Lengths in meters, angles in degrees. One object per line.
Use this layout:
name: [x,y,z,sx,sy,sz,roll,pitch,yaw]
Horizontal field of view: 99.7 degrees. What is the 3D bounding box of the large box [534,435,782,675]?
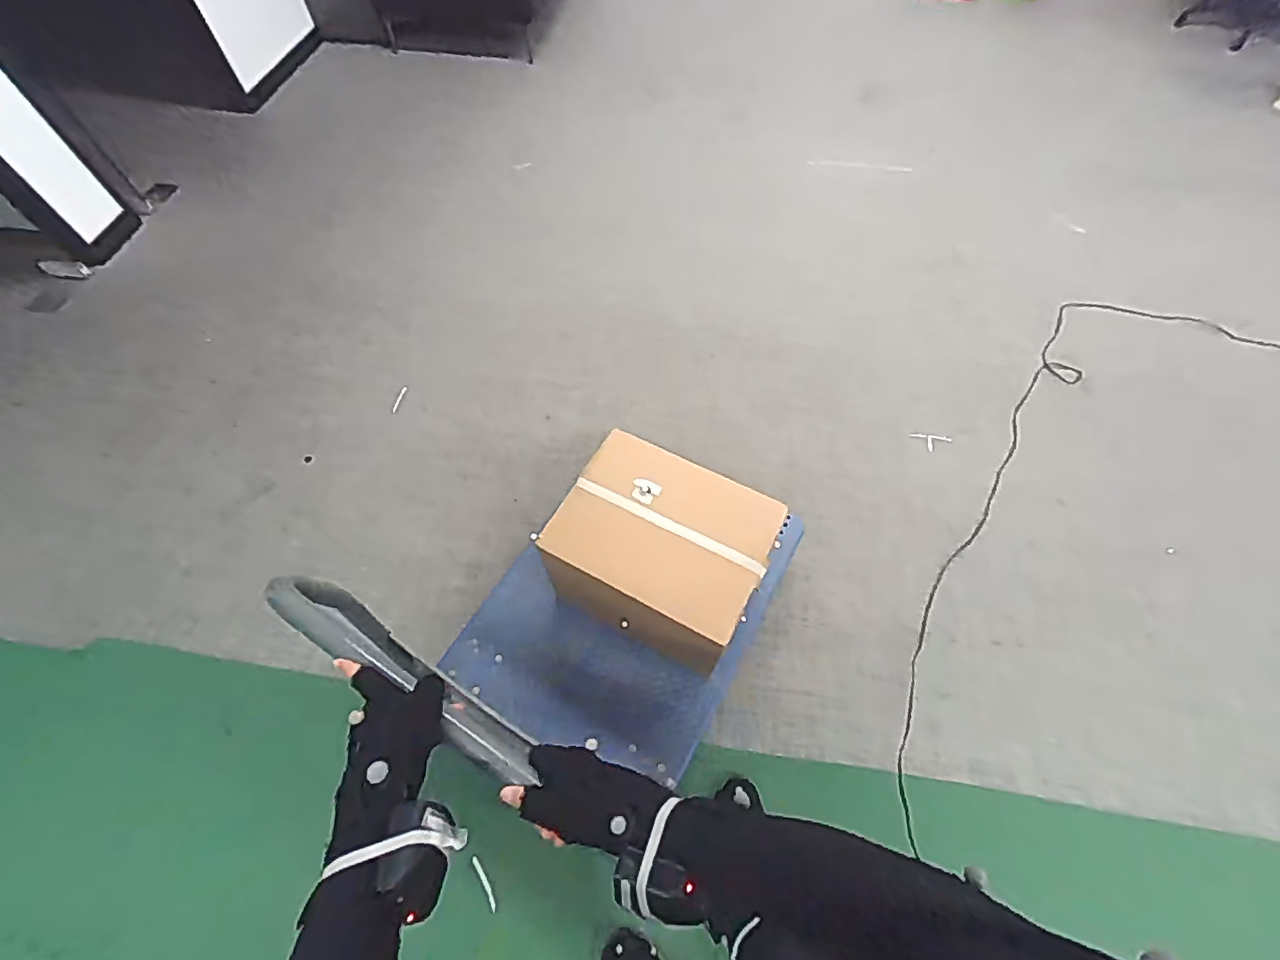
large box: [0.045,0.169,1.180,0.408,0.320,0.320,25,62,16]
